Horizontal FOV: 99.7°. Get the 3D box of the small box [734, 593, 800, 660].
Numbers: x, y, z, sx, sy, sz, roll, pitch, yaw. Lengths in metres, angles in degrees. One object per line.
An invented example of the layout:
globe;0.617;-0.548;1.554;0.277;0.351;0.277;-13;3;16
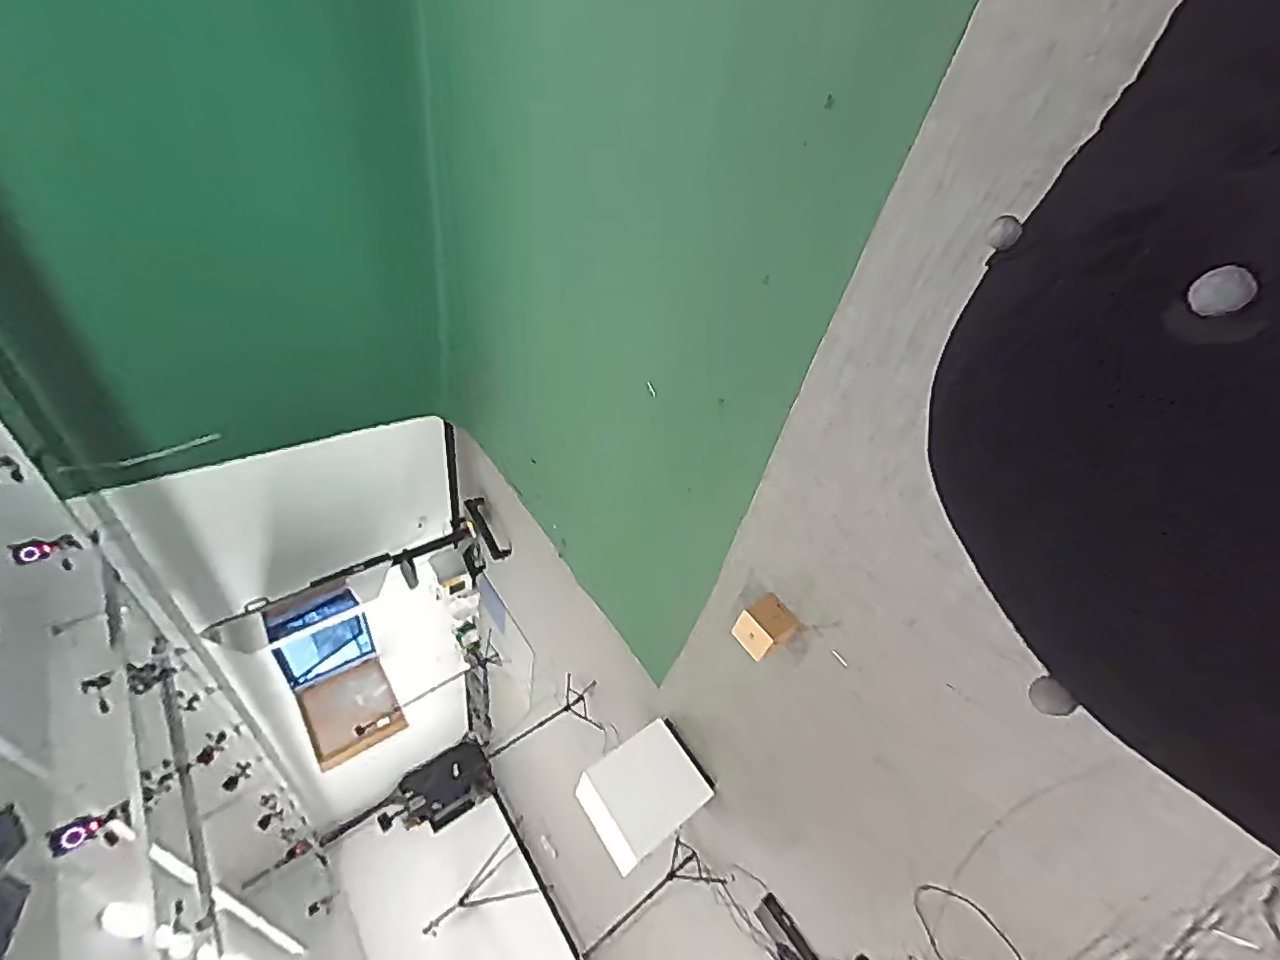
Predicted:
small box;0.521;0.592;2.202;0.168;0.176;0.179;48;141;31
